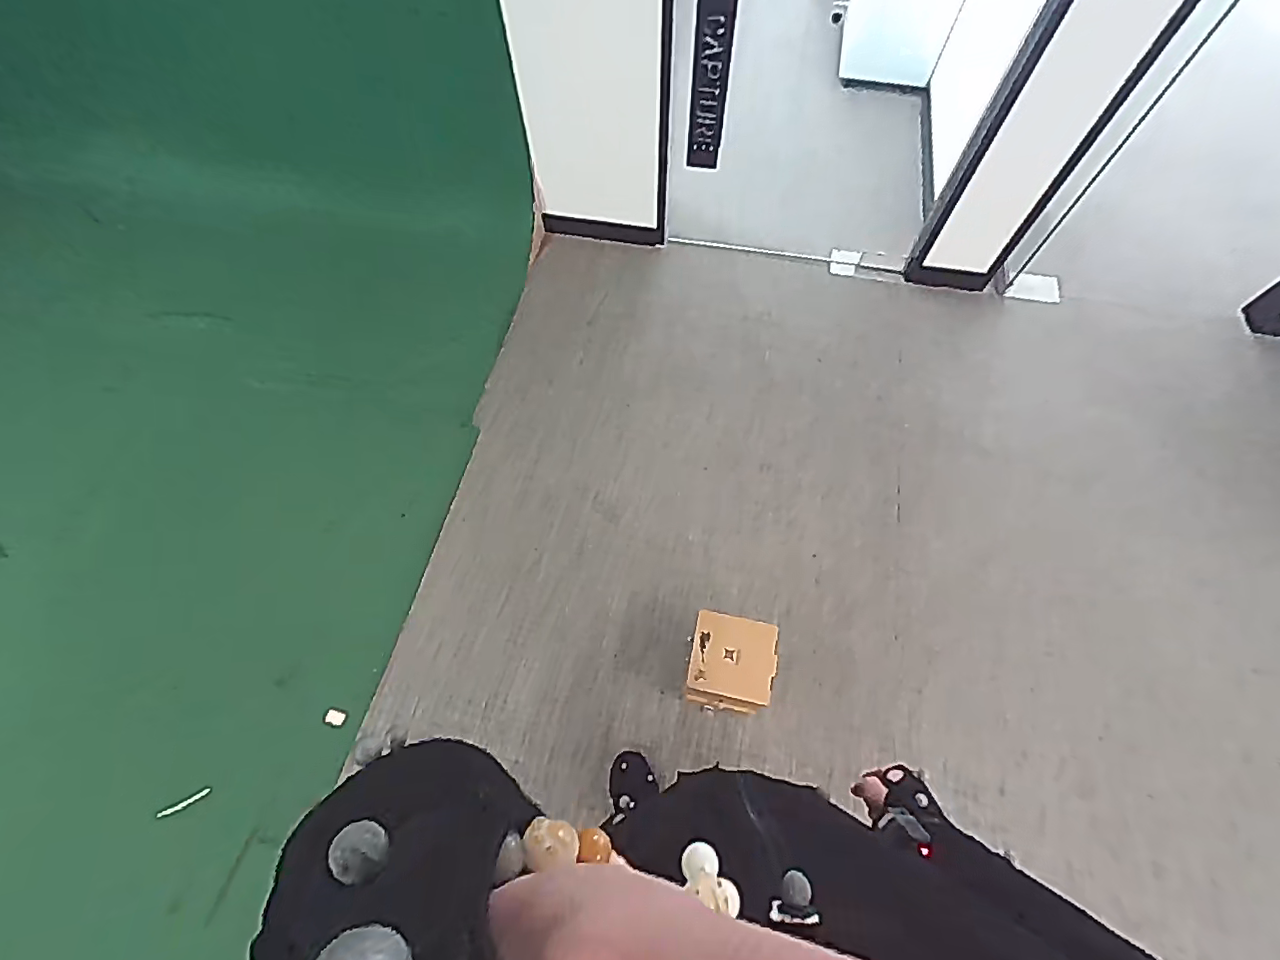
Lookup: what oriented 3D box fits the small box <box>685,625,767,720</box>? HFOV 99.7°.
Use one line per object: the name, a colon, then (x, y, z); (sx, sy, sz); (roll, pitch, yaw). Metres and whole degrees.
small box: (0.208, 0.482, 1.340); (0.168, 0.176, 0.179); (12, 65, 9)
